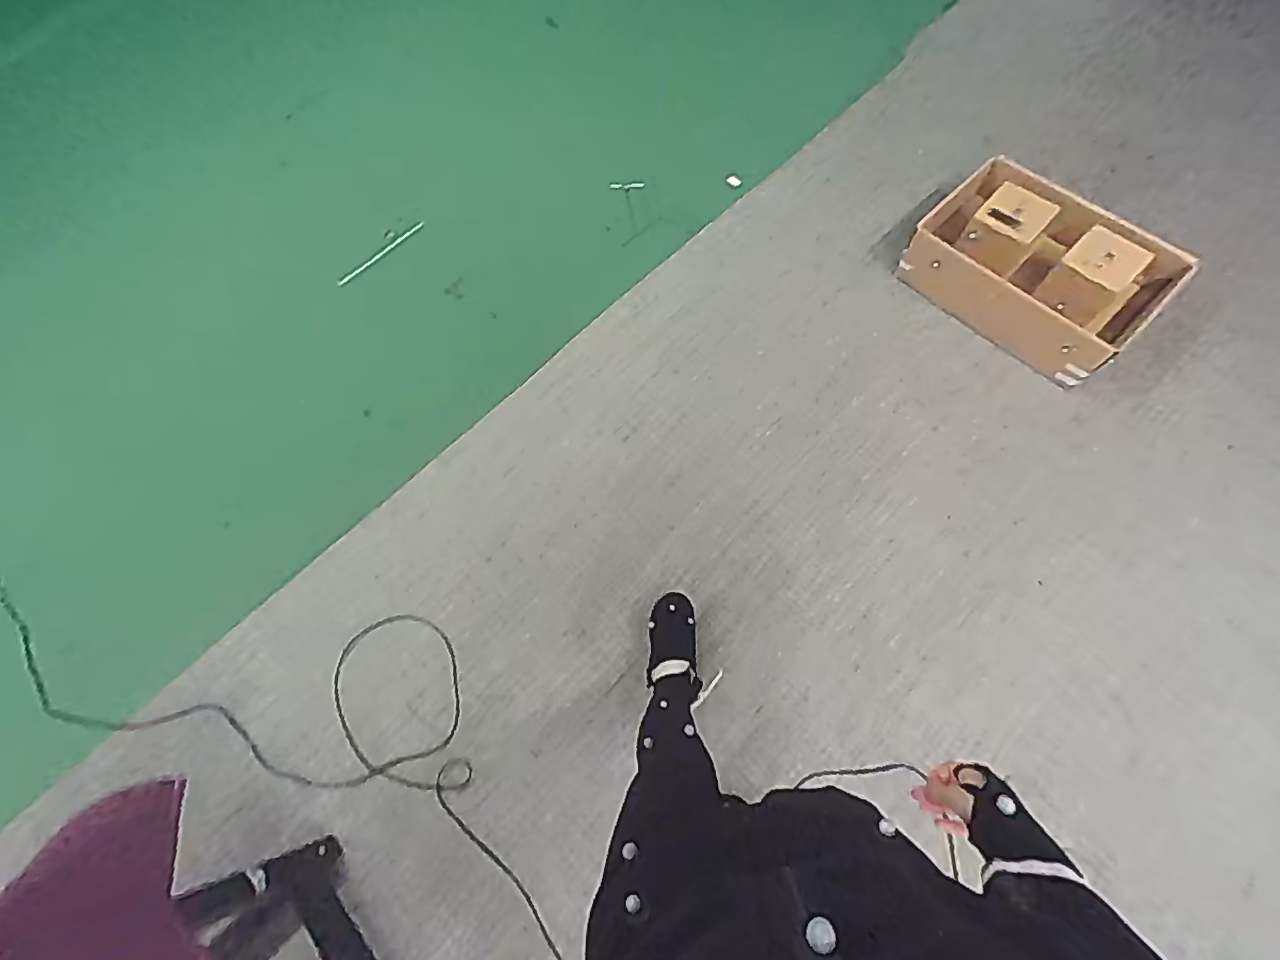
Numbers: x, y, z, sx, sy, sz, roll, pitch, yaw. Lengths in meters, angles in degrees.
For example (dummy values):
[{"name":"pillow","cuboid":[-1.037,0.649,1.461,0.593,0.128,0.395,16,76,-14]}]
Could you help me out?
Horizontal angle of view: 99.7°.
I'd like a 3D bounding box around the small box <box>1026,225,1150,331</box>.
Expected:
[{"name":"small box","cuboid":[1.227,-0.554,1.497,0.179,0.176,0.168,-42,69,-10]}]
